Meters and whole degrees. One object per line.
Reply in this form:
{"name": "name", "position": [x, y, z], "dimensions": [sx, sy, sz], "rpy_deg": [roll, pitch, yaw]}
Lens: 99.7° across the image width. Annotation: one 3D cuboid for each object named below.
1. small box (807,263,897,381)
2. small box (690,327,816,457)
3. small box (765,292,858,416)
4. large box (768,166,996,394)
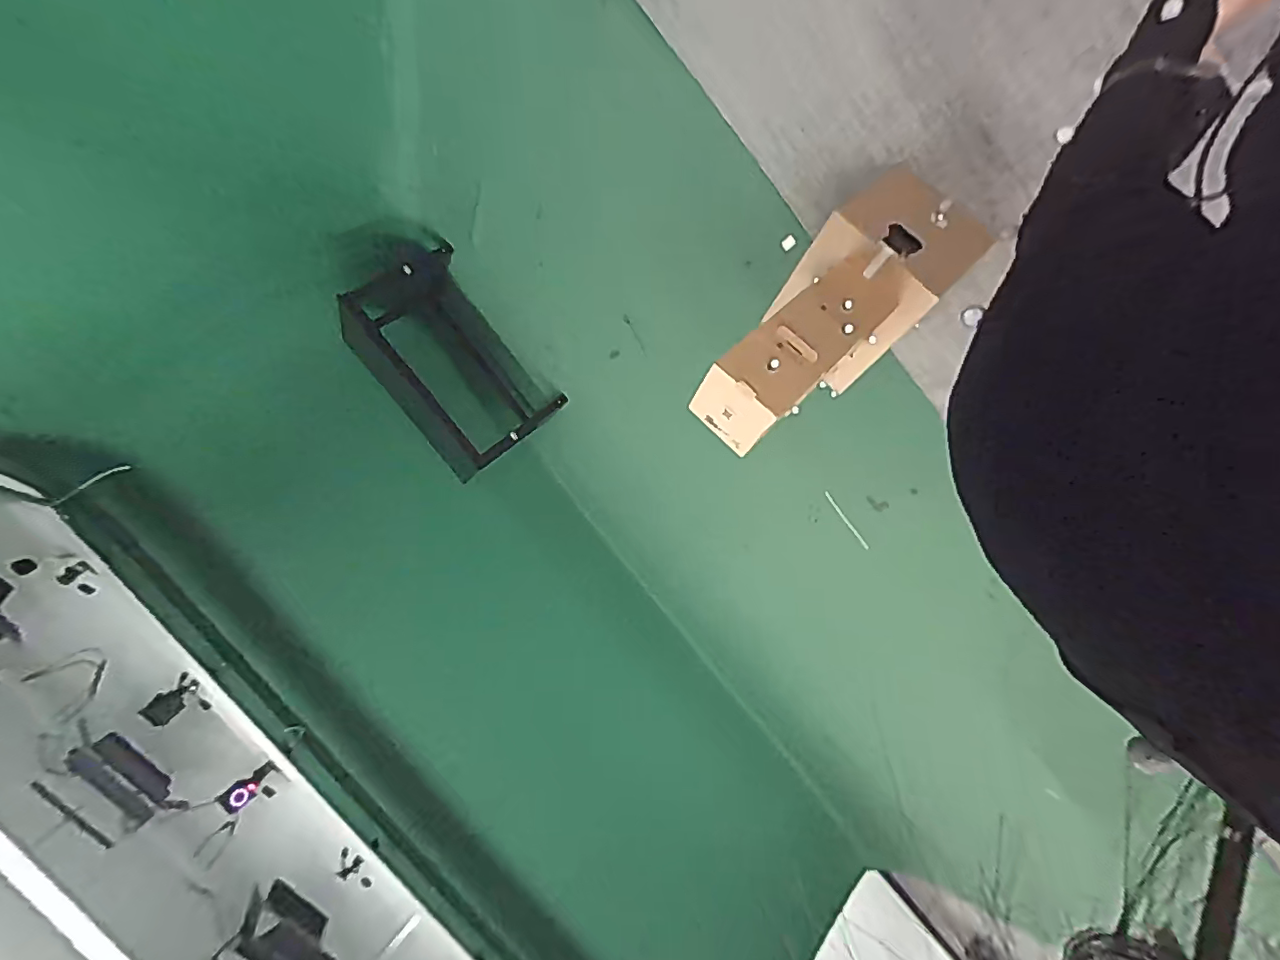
{"name": "small box", "position": [0.467, -0.377, 1.283], "dimensions": [0.179, 0.176, 0.168], "rpy_deg": [45, 154, 8]}
{"name": "small box", "position": [0.241, -0.187, 1.140], "dimensions": [0.168, 0.176, 0.179], "rpy_deg": [45, 153, 8]}
{"name": "small box", "position": [0.355, -0.284, 1.209], "dimensions": [0.168, 0.176, 0.179], "rpy_deg": [45, 154, 8]}
{"name": "large box", "position": [0.615, -0.514, 1.429], "dimensions": [0.320, 0.320, 0.408], "rpy_deg": [46, 155, 9]}
